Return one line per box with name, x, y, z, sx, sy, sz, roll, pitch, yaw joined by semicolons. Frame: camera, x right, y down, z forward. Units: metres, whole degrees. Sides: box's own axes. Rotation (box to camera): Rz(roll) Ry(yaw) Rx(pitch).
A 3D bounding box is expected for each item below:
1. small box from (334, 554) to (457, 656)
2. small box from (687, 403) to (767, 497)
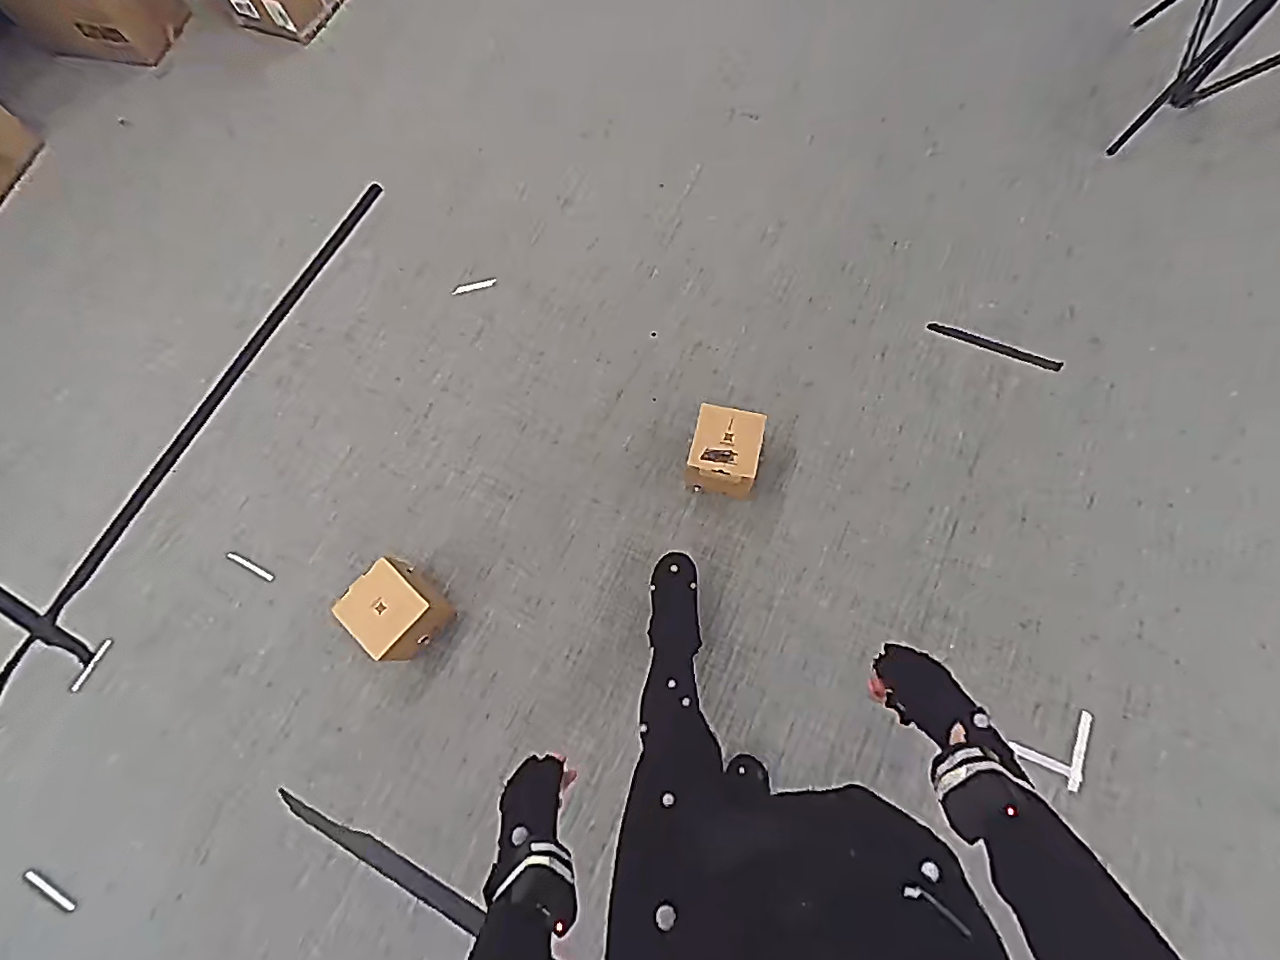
small box;-0.585;0.308;1.312;0.179;0.176;0.168;40;80;13
small box;0.219;-0.070;1.386;0.168;0.176;0.179;13;73;8
